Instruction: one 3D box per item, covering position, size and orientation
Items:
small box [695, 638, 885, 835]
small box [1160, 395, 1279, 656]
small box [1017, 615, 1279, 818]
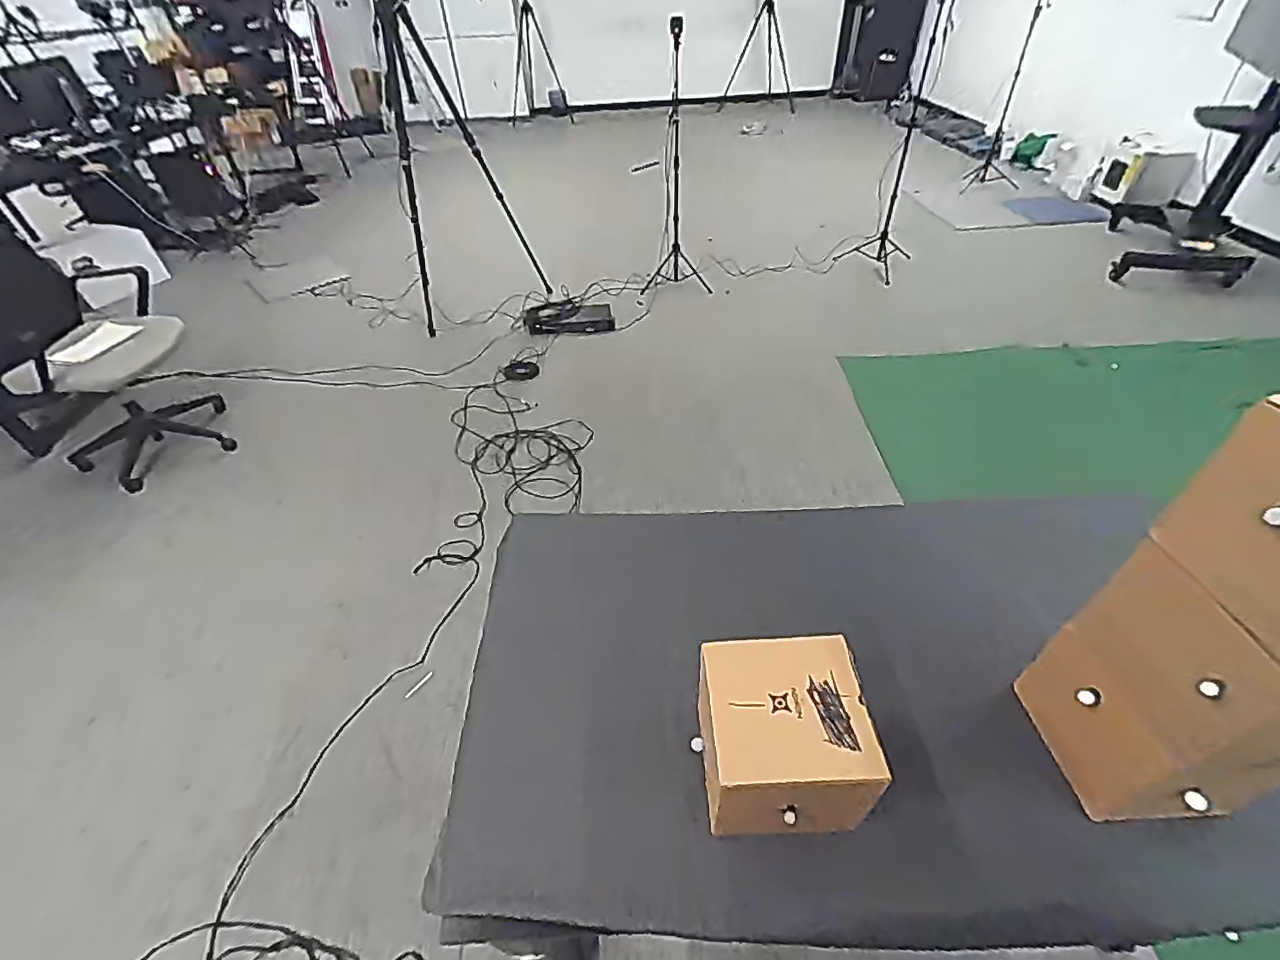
[{"bbox_3d":[0.161,0.309,0.650,0.179,0.176,0.168,-3,42,1],"label":"small box"},{"bbox_3d":[0.589,0.043,0.425,0.168,0.176,0.179,-6,42,-2],"label":"small box"},{"bbox_3d":[0.606,0.285,0.647,0.168,0.176,0.179,-3,42,0],"label":"small box"}]
